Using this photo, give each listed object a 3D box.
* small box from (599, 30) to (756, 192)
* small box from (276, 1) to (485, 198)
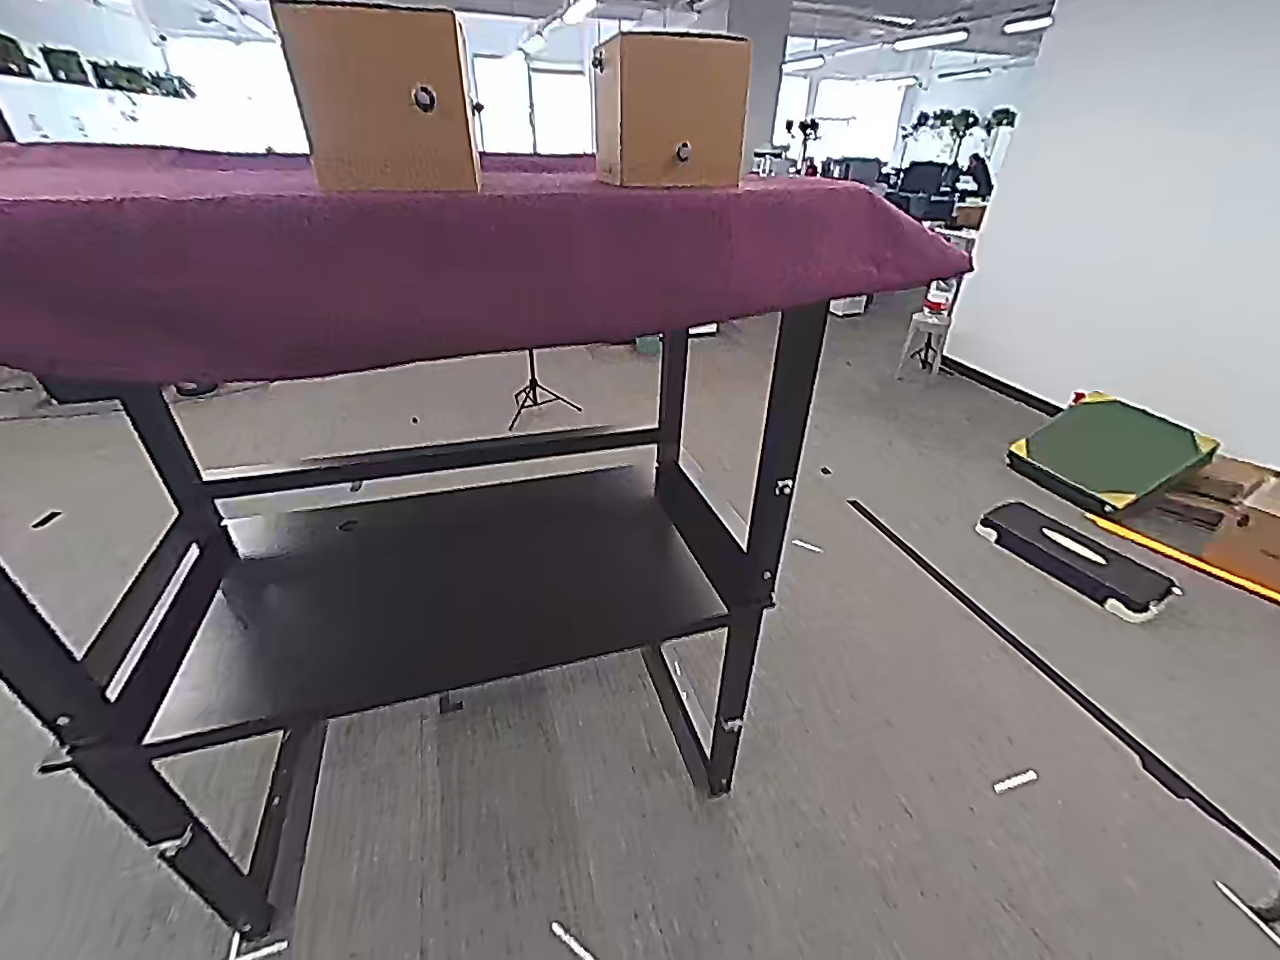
[{"bbox_3d":[0.041,-0.511,0.765,0.179,0.176,0.168,-7,32,-14],"label":"small box"},{"bbox_3d":[-0.284,-0.439,0.644,0.179,0.176,0.168,-6,32,-10],"label":"small box"}]
